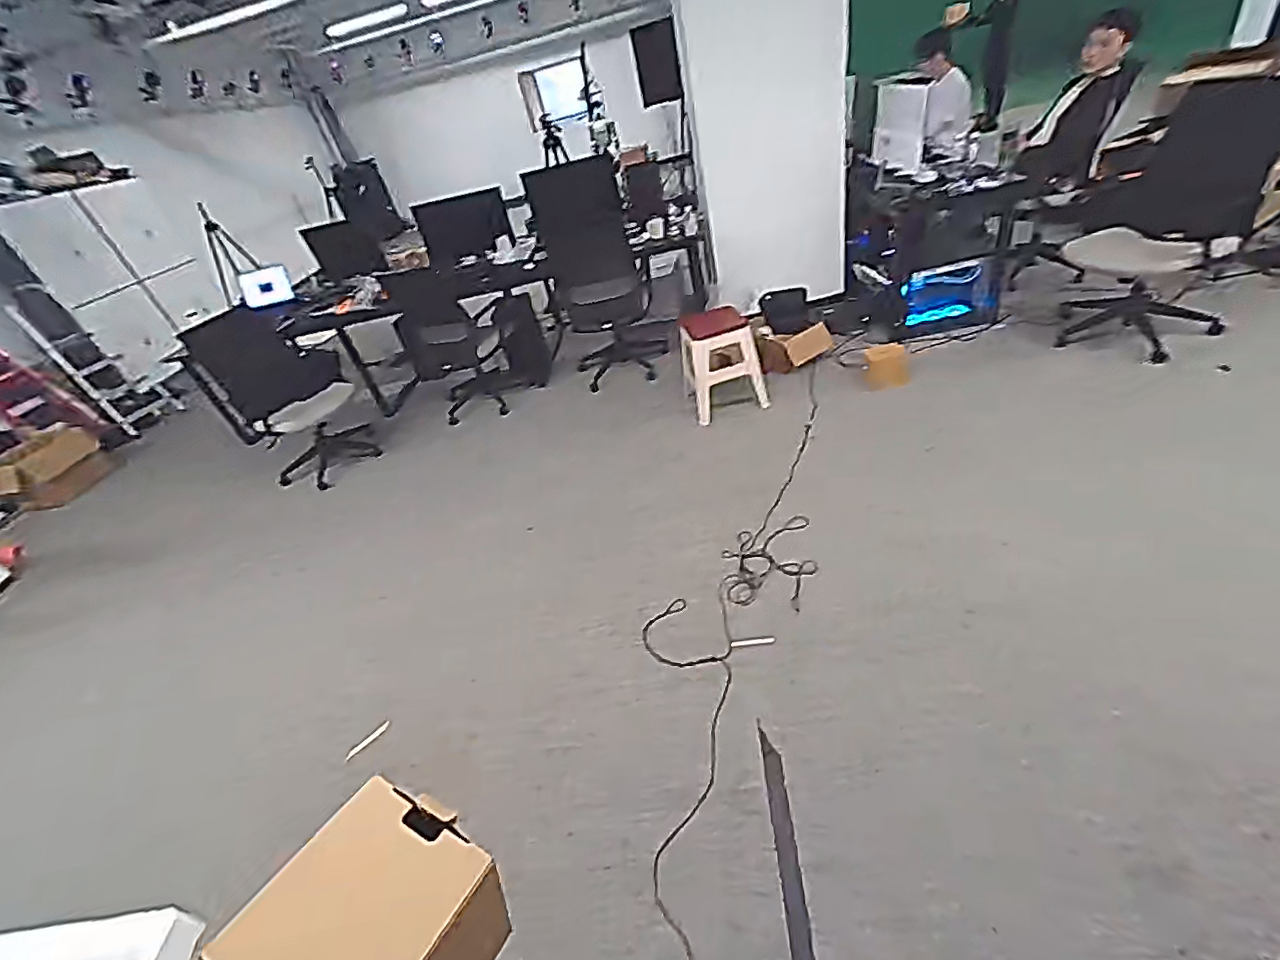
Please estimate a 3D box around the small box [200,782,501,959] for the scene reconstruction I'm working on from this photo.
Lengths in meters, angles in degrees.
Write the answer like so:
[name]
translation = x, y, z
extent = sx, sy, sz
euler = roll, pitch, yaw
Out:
[small box]
translation = -0.252, 0.444, 0.512
extent = 0.168, 0.176, 0.179
euler = 17, 35, 23
